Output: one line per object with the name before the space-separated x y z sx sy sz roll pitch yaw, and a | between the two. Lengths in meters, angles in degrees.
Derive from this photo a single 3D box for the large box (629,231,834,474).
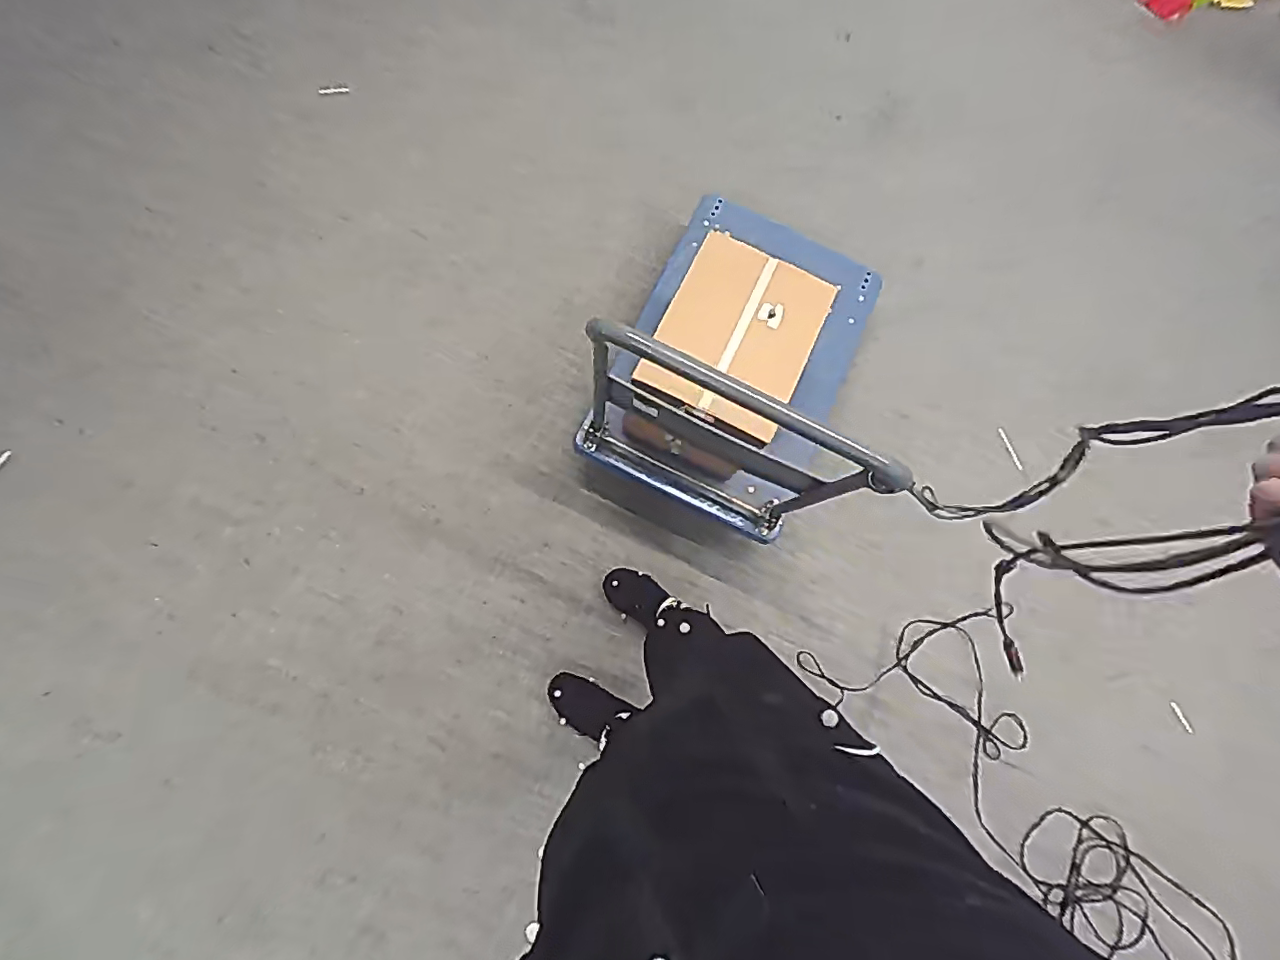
large box | 0.197 -0.280 1.286 0.320 0.320 0.408 26 75 1
